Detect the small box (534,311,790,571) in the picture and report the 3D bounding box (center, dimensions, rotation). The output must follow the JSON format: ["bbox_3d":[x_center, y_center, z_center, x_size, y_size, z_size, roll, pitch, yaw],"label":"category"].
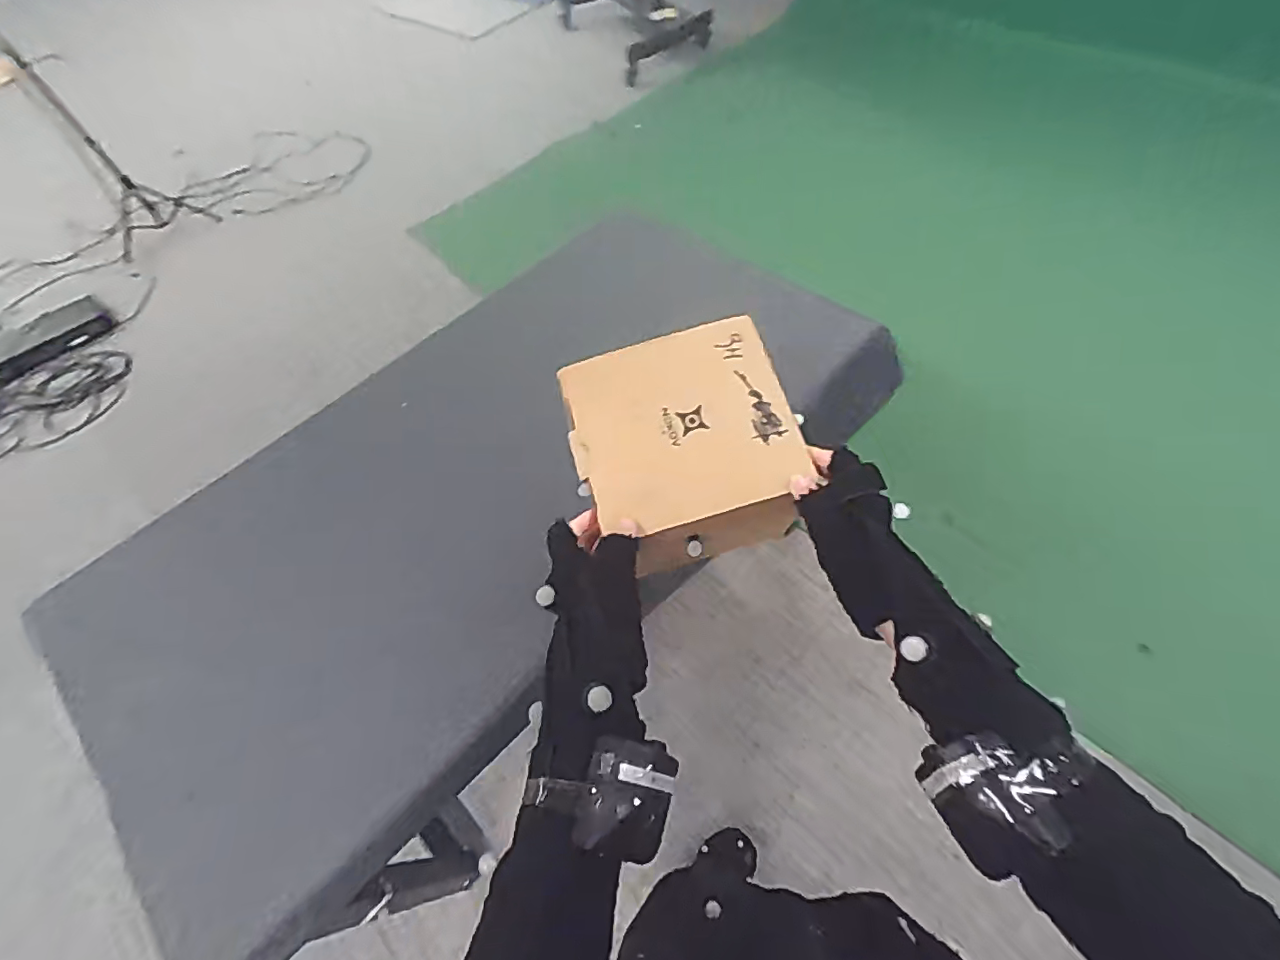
[{"bbox_3d":[0.020,-0.022,0.514,0.179,0.176,0.168,-18,71,-1],"label":"small box"}]
